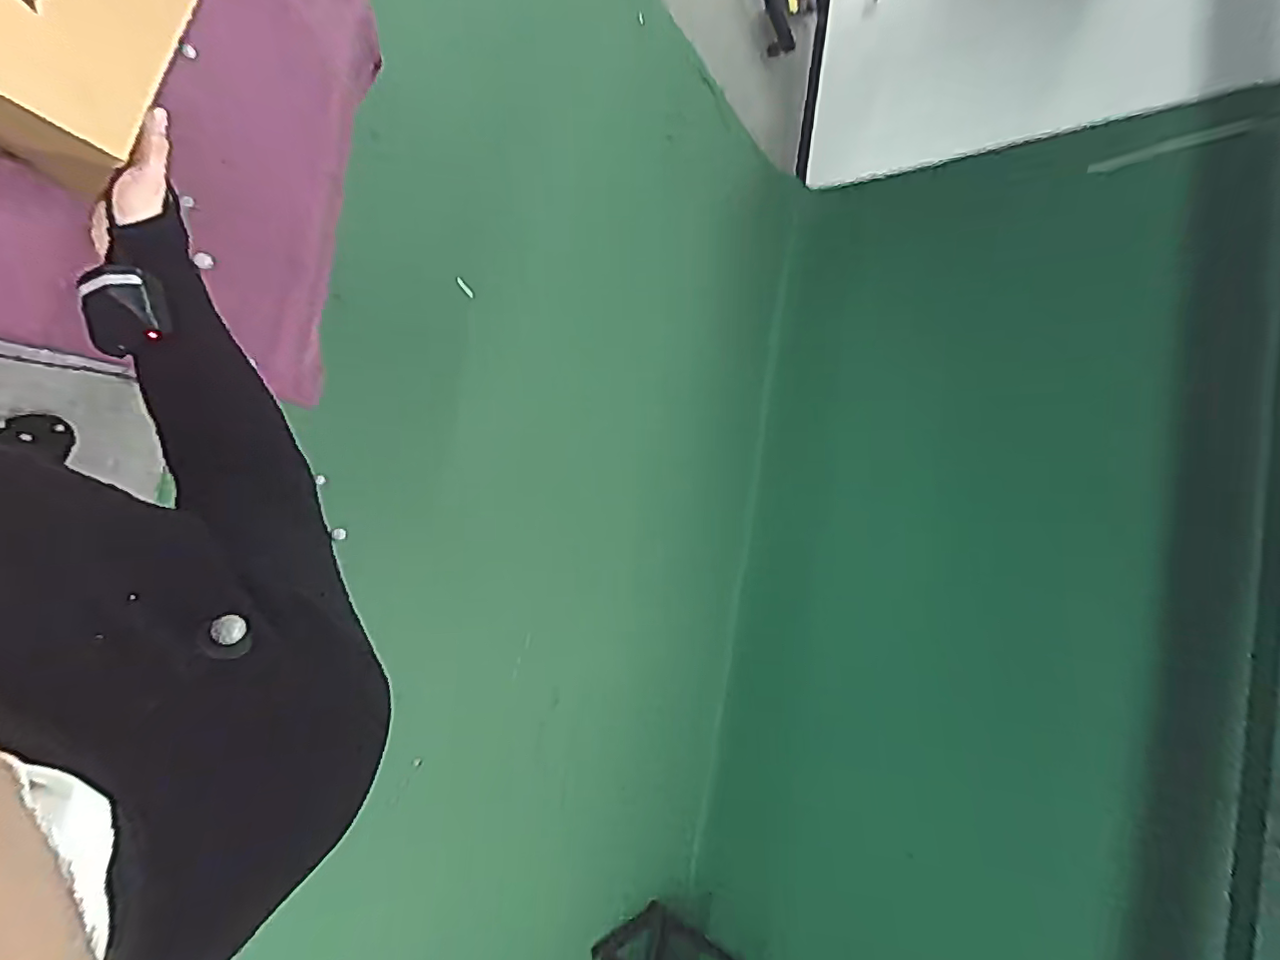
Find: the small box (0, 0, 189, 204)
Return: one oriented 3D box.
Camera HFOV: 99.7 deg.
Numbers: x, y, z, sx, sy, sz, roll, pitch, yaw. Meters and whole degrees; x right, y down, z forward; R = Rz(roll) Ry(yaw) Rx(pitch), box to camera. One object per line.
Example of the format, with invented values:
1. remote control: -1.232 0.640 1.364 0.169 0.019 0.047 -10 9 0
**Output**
1. small box: -0.516 -0.362 0.440 0.168 0.176 0.179 25 76 -50
